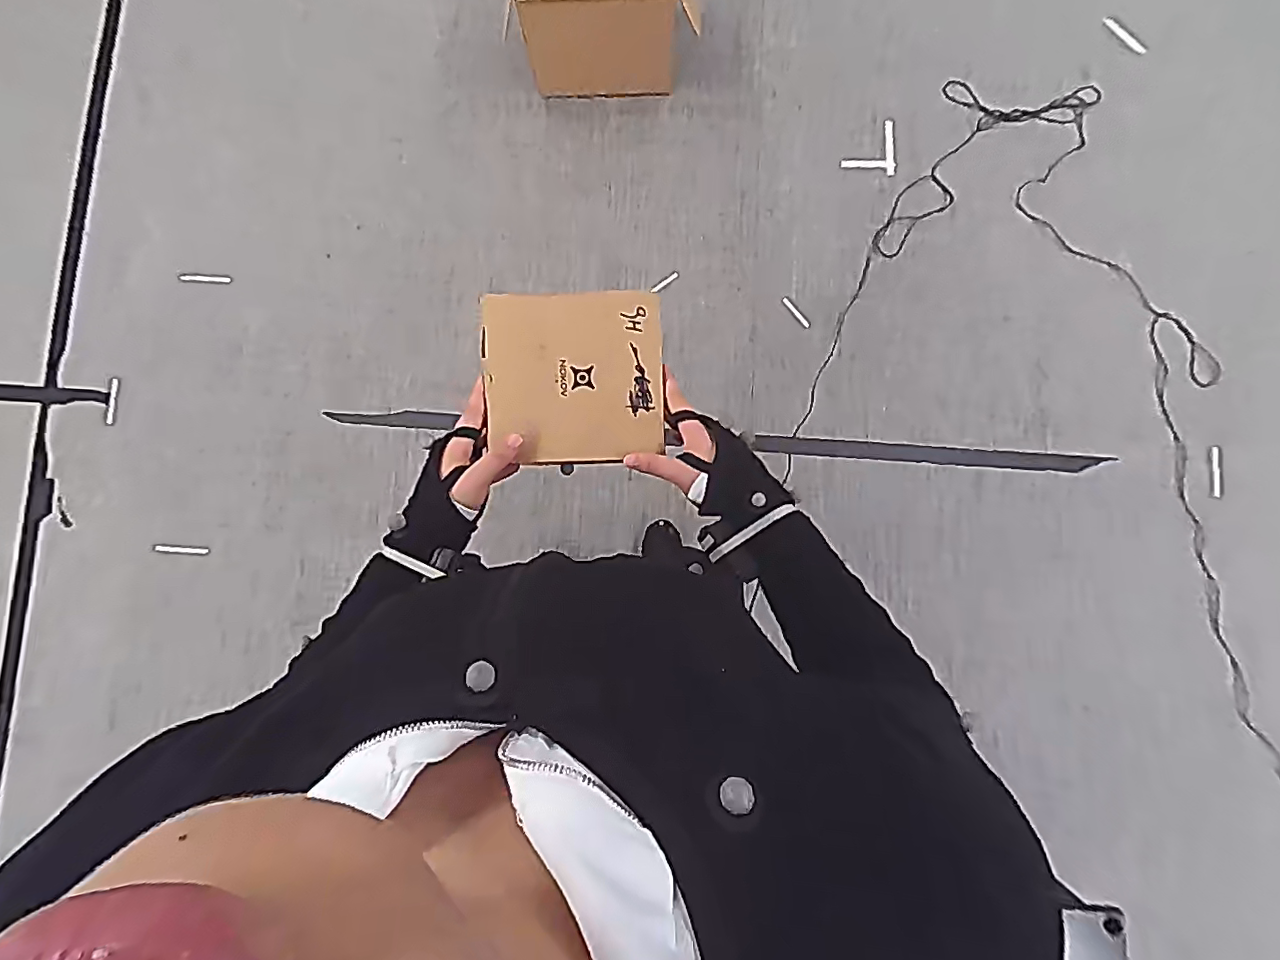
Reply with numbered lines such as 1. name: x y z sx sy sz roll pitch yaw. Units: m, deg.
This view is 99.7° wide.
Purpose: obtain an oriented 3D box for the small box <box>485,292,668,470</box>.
1. small box: -0.062 -0.097 0.598 0.179 0.176 0.168 -2 90 -2
